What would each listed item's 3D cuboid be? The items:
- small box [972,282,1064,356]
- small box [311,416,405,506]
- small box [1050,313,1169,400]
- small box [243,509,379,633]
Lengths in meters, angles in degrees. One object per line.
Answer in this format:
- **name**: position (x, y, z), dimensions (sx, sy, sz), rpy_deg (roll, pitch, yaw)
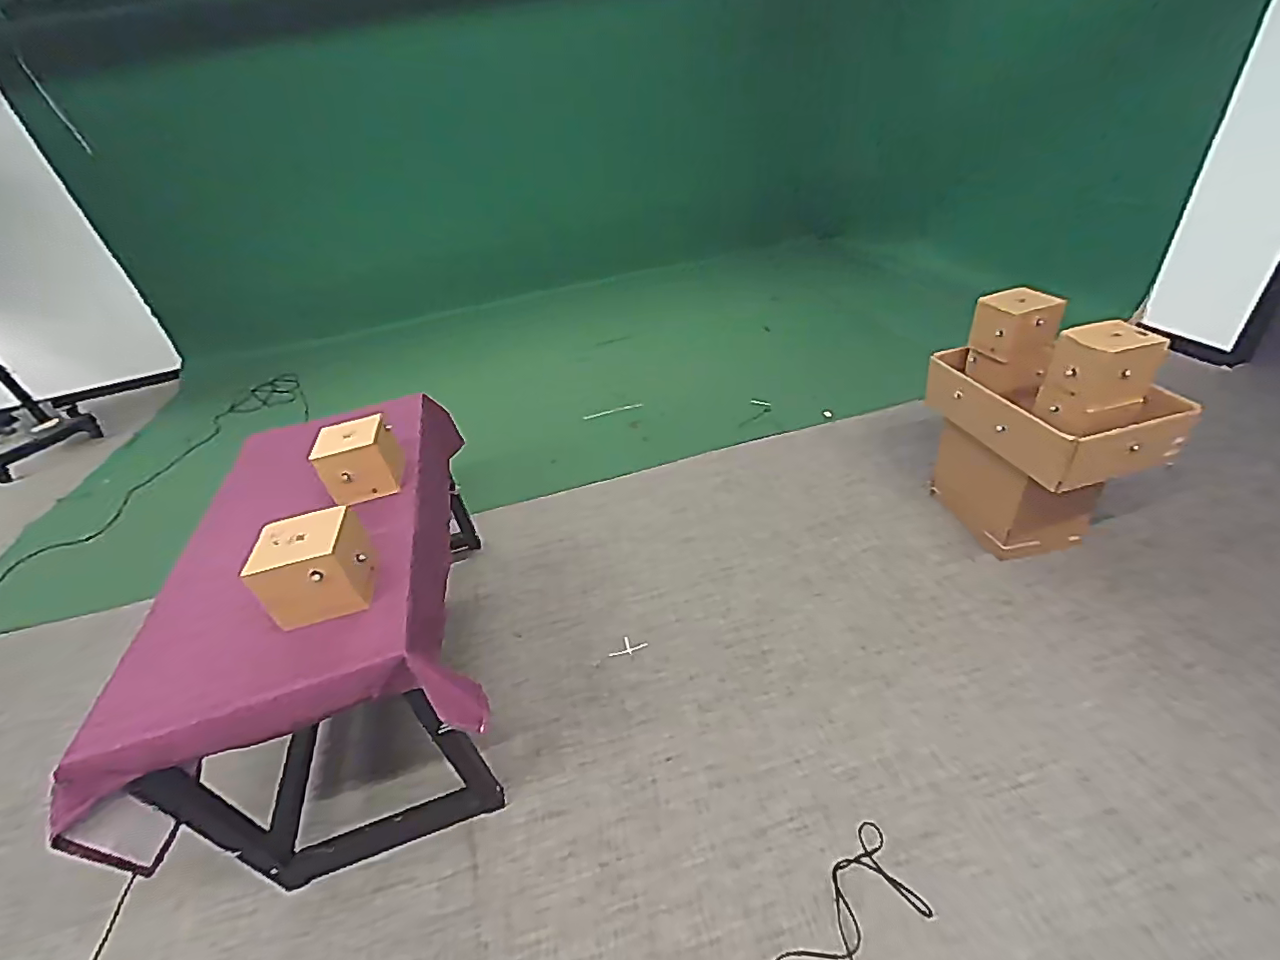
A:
- **small box**: position (1.217, -0.522, 1.760), dimensions (0.179, 0.176, 0.168), rpy_deg (-16, 38, -8)
- **small box**: position (-0.767, -0.046, 1.493), dimensions (0.168, 0.176, 0.179), rpy_deg (-17, 36, -7)
- **small box**: position (1.284, -0.339, 1.499), dimensions (0.179, 0.176, 0.168), rpy_deg (-13, 37, -2)
- **small box**: position (-0.682, 0.193, 1.149), dimensions (0.179, 0.176, 0.168), rpy_deg (-16, 36, -6)
